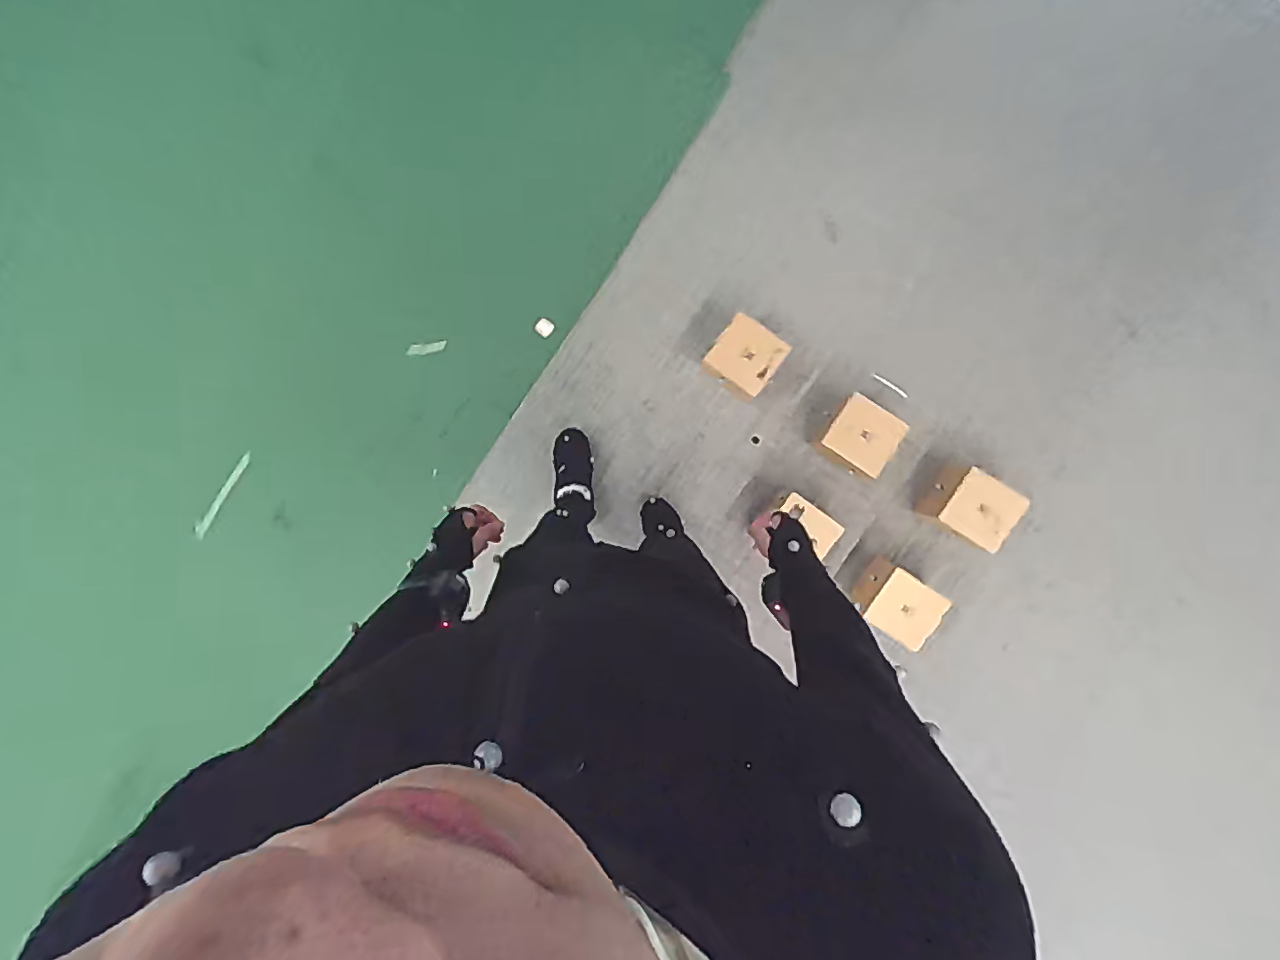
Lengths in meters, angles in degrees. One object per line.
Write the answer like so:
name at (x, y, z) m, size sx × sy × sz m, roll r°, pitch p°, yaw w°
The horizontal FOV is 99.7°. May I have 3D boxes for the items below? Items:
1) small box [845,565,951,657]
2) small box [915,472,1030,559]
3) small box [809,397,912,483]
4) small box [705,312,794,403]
small box at (0.707, 0.354, 1.507) m, size 0.179 × 0.176 × 0.168 m, roll 34°, pitch 94°, yaw 1°
small box at (0.898, 0.091, 1.480) m, size 0.179 × 0.176 × 0.168 m, roll 34°, pitch 95°, yaw 2°
small box at (0.601, -0.109, 1.495) m, size 0.179 × 0.176 × 0.168 m, roll 35°, pitch 93°, yaw 3°
small box at (0.296, -0.332, 1.509) m, size 0.179 × 0.176 × 0.168 m, roll 38°, pitch 94°, yaw 3°
